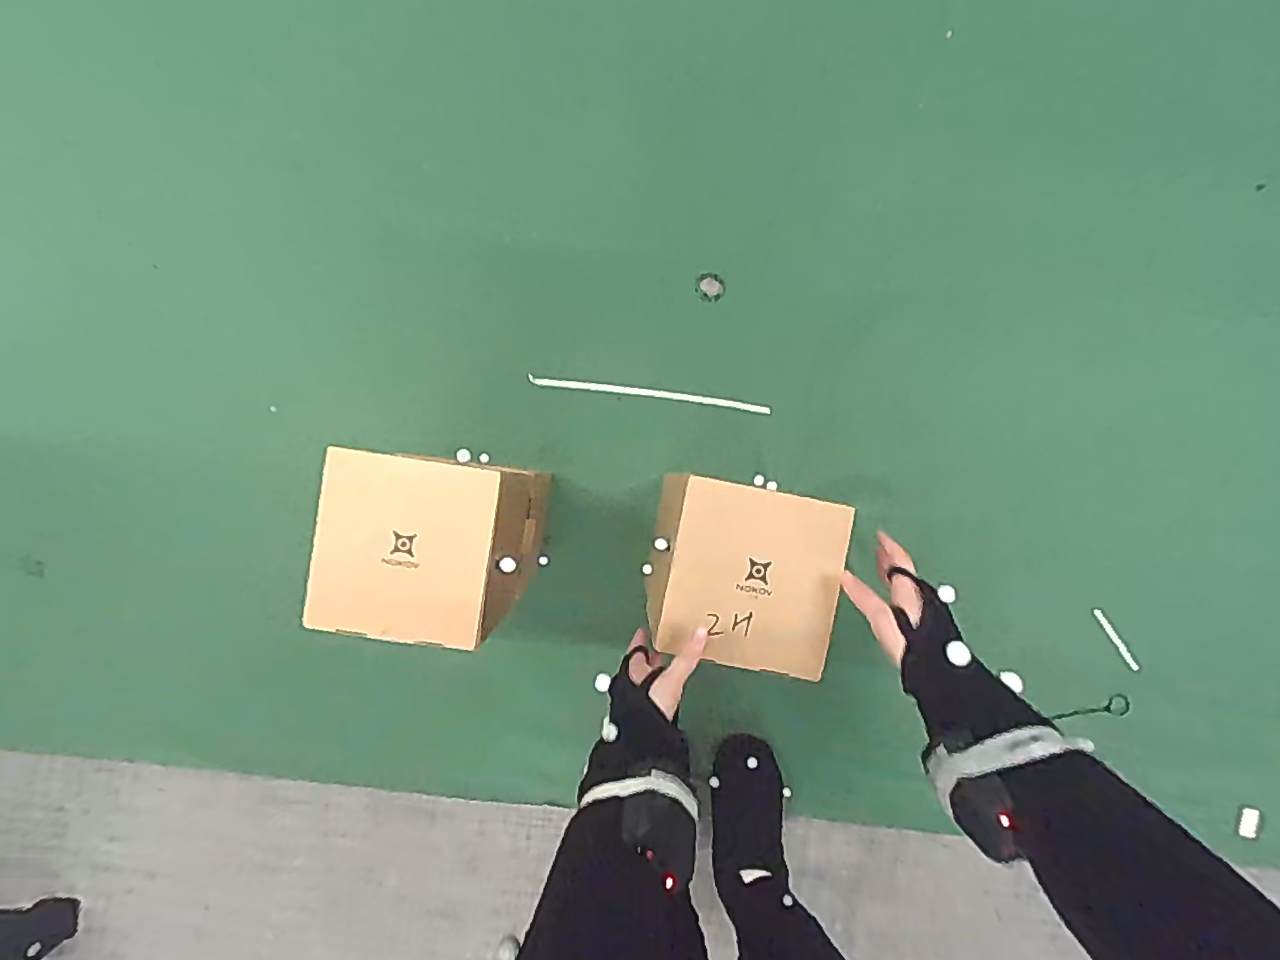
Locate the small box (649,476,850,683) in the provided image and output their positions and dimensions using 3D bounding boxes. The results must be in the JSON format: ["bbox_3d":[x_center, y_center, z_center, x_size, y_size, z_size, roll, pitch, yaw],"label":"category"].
[{"bbox_3d":[0.106,0.096,0.601,0.168,0.176,0.179,11,91,-2],"label":"small box"}]

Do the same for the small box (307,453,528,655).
[{"bbox_3d":[-0.226,0.070,0.596,0.168,0.176,0.179,8,91,-1],"label":"small box"}]

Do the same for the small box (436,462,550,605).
[{"bbox_3d":[-0.229,0.066,0.759,0.179,0.176,0.168,8,90,0],"label":"small box"}]
